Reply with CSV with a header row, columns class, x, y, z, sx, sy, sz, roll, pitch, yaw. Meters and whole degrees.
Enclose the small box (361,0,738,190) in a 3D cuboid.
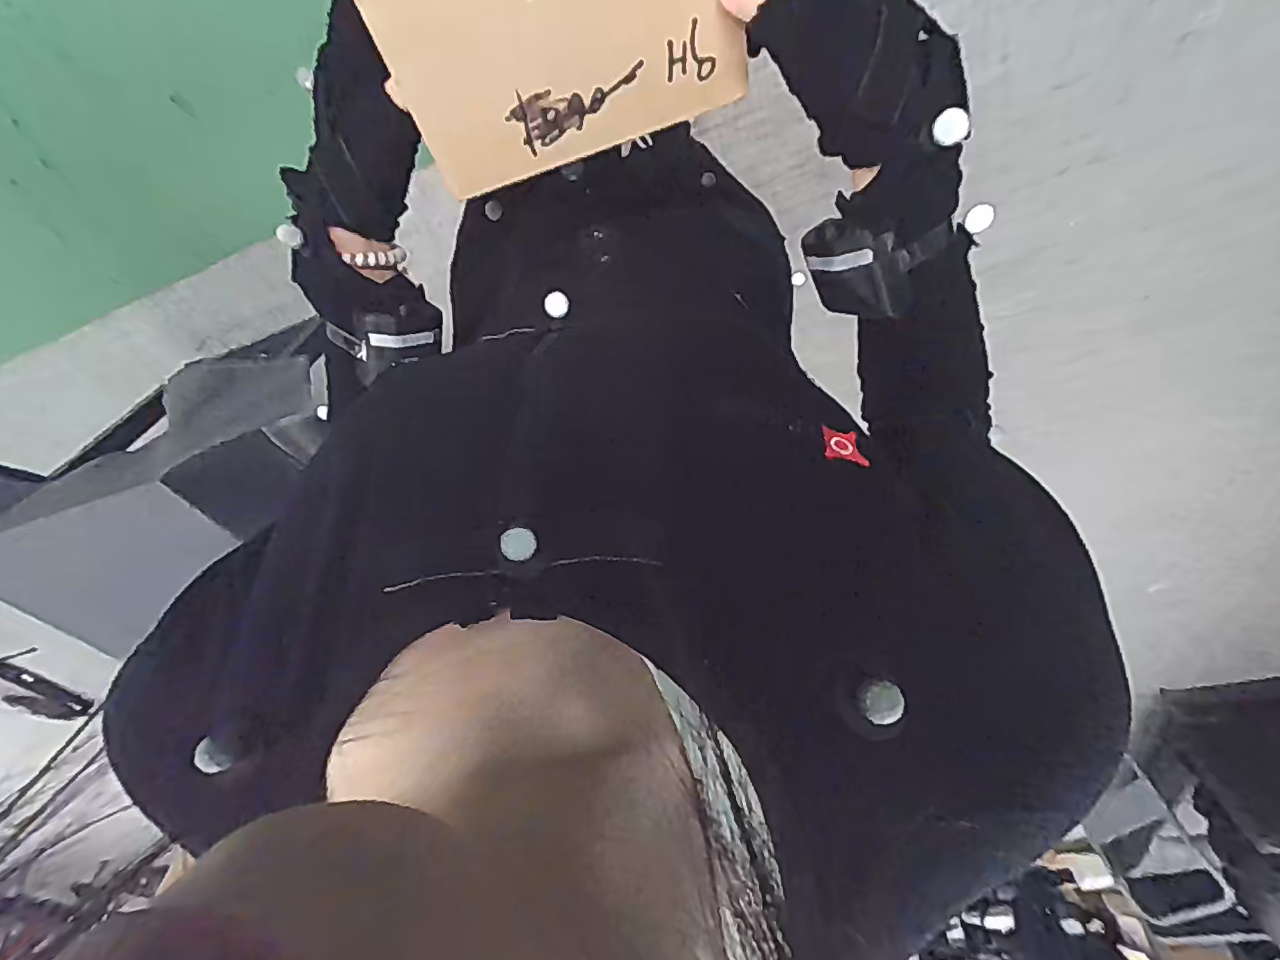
class,x,y,z,sx,sy,sz,roll,pitch,yaw
small box,-0.060,-0.292,0.285,0.168,0.176,0.179,-17,136,5
